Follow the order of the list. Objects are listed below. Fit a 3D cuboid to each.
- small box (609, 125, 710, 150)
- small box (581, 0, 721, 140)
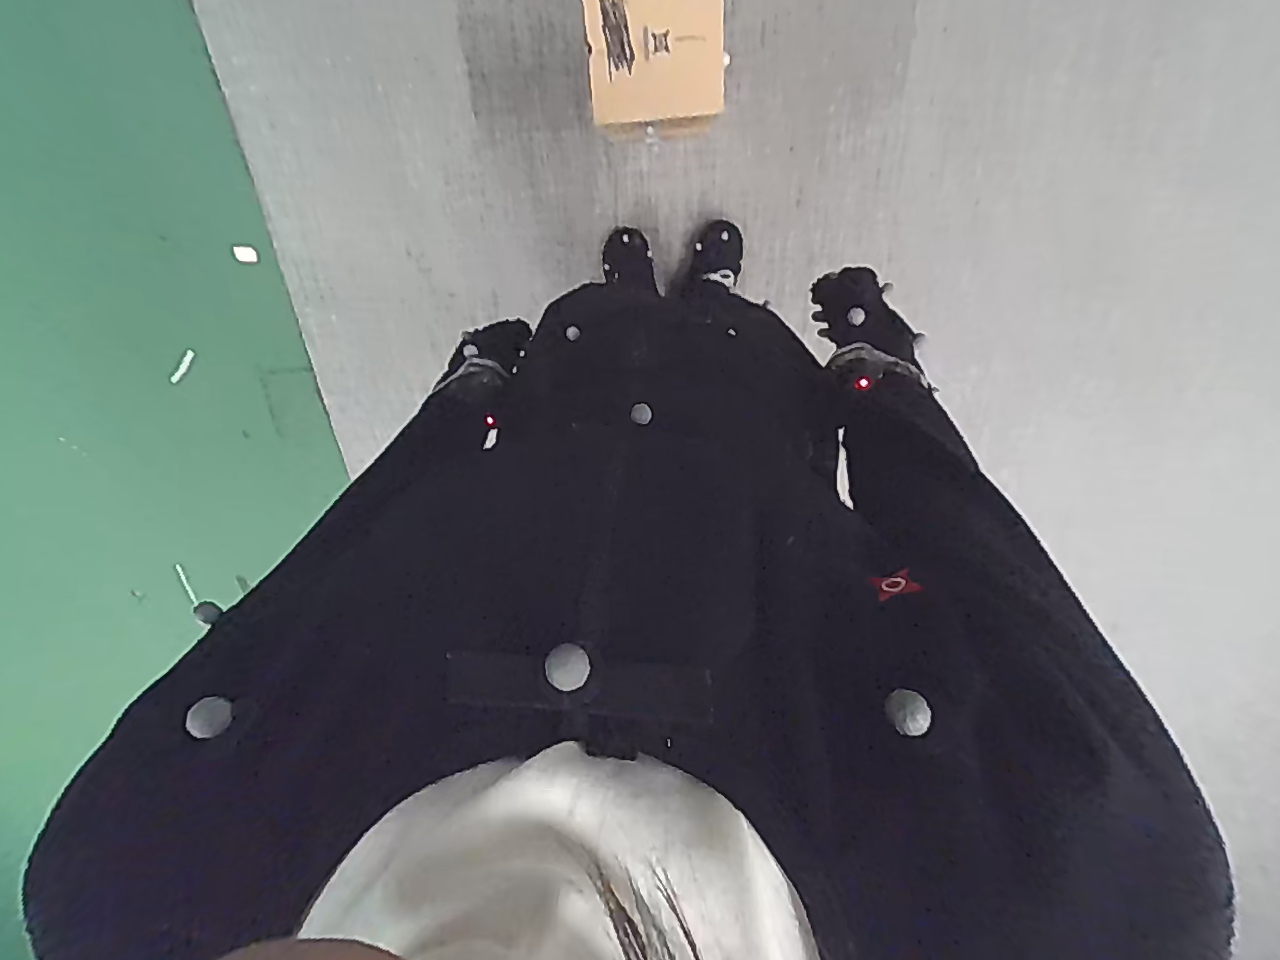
[{"bbox_3d":[0.028,-0.661,0.897,0.168,0.176,0.179,-3,119,5],"label":"small box"},{"bbox_3d":[0.021,-0.591,0.767,0.179,0.176,0.168,-3,118,4],"label":"small box"}]
